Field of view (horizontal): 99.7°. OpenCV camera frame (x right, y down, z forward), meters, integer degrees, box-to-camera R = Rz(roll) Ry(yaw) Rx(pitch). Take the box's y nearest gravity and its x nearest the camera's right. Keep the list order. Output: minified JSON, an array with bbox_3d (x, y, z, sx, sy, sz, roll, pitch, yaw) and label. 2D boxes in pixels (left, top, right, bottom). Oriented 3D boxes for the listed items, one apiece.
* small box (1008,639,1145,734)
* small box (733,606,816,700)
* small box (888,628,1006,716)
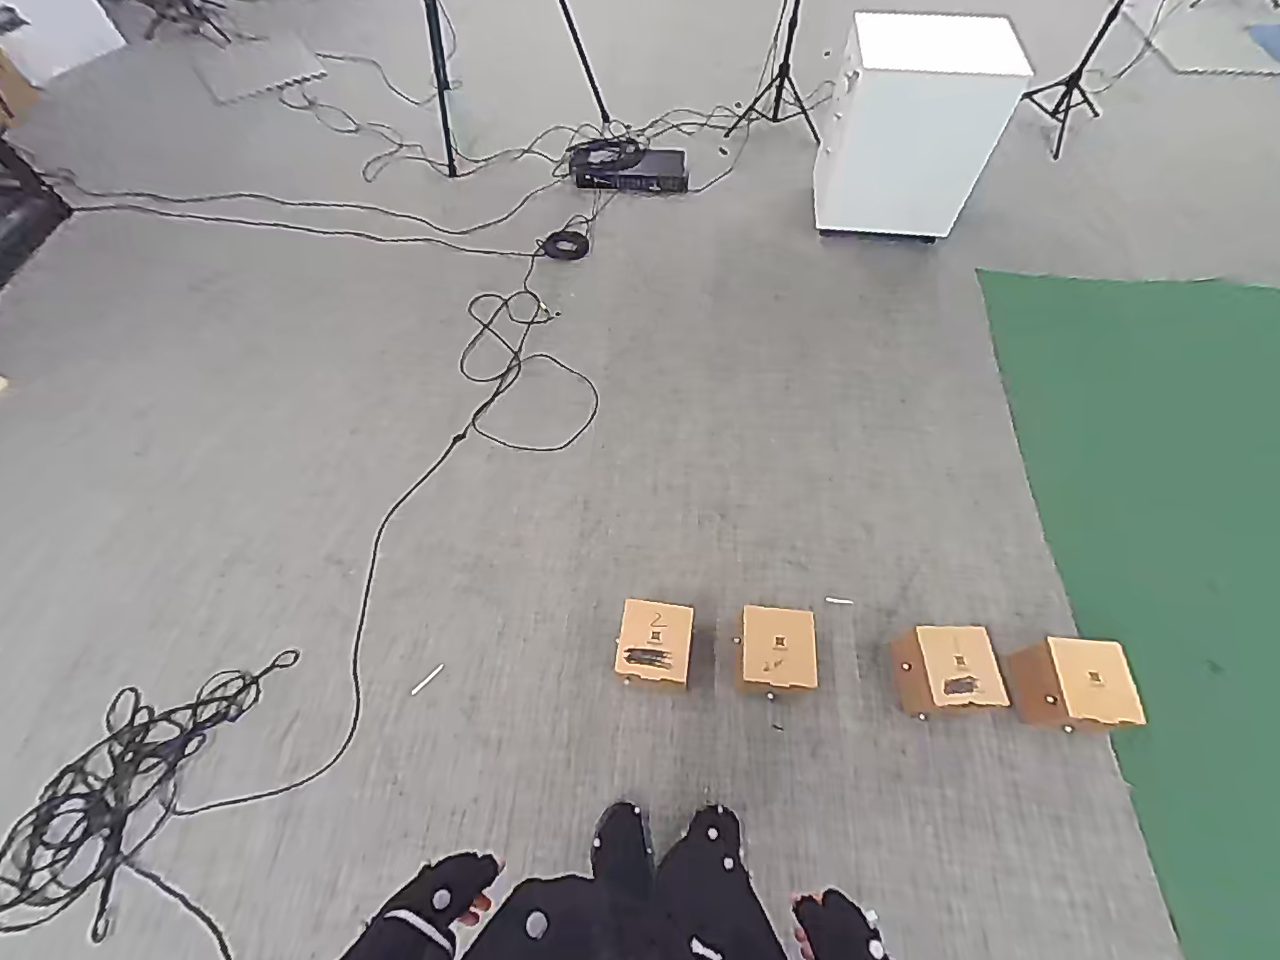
[{"bbox_3d":[1.010,0.489,1.274,0.168,0.176,0.179,4,60,3],"label":"small box"},{"bbox_3d":[0.319,0.422,1.310,0.168,0.176,0.179,5,60,4],"label":"small box"},{"bbox_3d":[0.719,0.462,1.289,0.168,0.176,0.179,1,59,0],"label":"small box"}]
